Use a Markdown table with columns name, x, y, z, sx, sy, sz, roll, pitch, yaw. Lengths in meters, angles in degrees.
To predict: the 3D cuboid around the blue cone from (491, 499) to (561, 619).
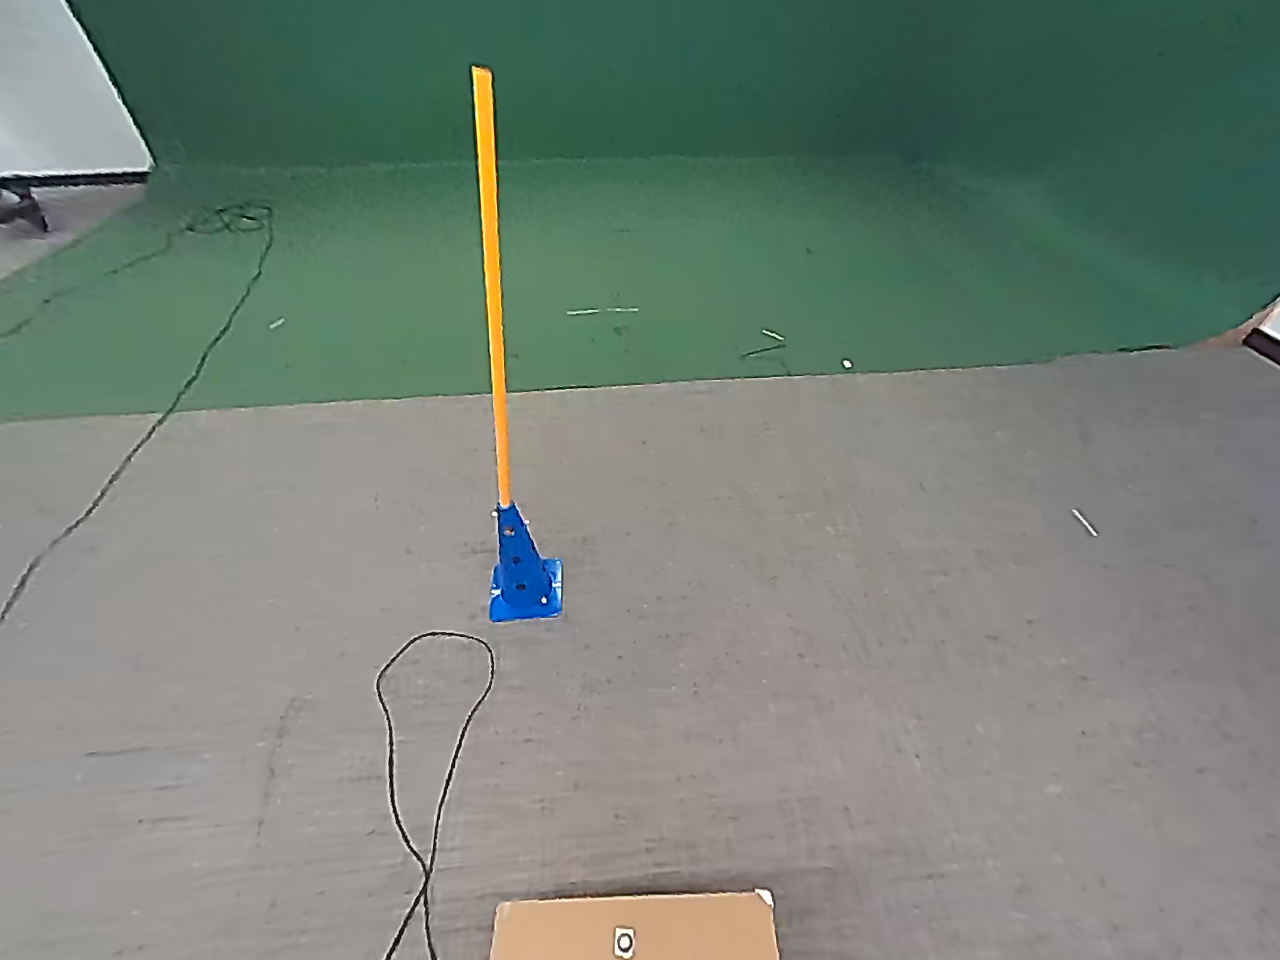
| name | x | y | z | sx | sy | sz | roll | pitch | yaw |
| --- | --- | --- | --- | --- | --- | --- | --- | --- | --- |
| blue cone | -0.318 | 0.182 | 1.406 | 0.193 | 0.380 | 0.192 | -5 | 45 | -7 |
